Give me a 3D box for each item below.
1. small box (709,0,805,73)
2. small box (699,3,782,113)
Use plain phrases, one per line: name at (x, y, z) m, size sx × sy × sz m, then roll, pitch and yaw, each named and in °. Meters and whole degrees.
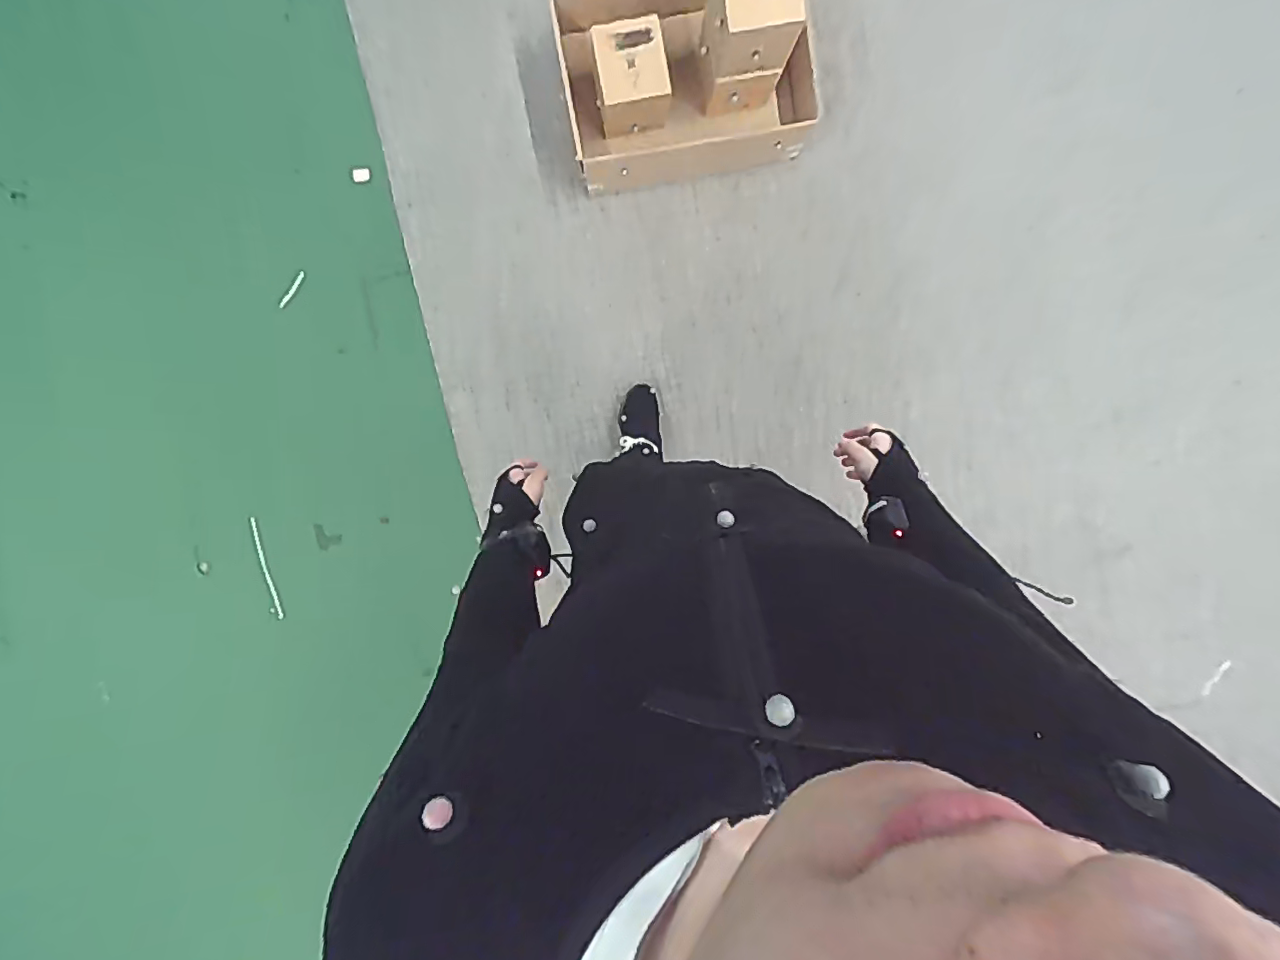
small box at (0.253, -1.043, 1.198) m, size 0.168 × 0.176 × 0.179 m, roll -9°, pitch 97°, yaw 0°
small box at (0.249, -1.062, 1.363) m, size 0.168 × 0.176 × 0.179 m, roll -10°, pitch 97°, yaw 0°
